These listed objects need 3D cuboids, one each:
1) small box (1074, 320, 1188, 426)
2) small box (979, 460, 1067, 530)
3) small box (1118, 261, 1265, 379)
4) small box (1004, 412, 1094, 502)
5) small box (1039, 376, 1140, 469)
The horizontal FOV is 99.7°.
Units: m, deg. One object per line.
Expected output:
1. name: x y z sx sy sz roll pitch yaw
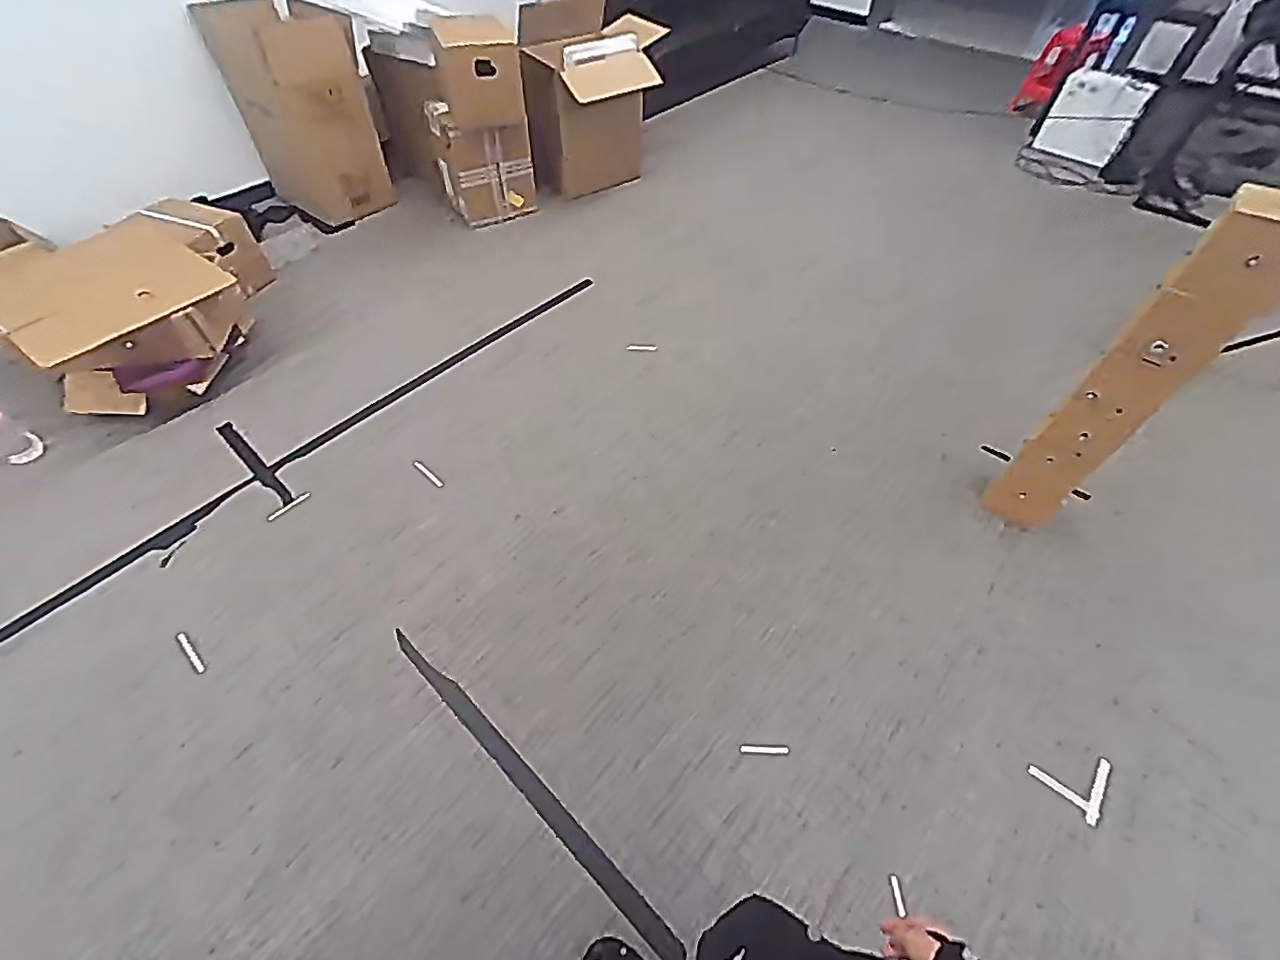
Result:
1. small box: 1.256 -0.268 1.373 0.168 0.176 0.179 35 59 25
2. small box: 1.255 0.037 1.758 0.179 0.176 0.168 35 60 24
3. small box: 1.259 -0.367 1.245 0.168 0.176 0.179 33 60 24
4. small box: 1.248 -0.066 1.630 0.179 0.176 0.168 37 61 25
5. small box: 1.257 -0.163 1.500 0.168 0.176 0.179 36 61 25
